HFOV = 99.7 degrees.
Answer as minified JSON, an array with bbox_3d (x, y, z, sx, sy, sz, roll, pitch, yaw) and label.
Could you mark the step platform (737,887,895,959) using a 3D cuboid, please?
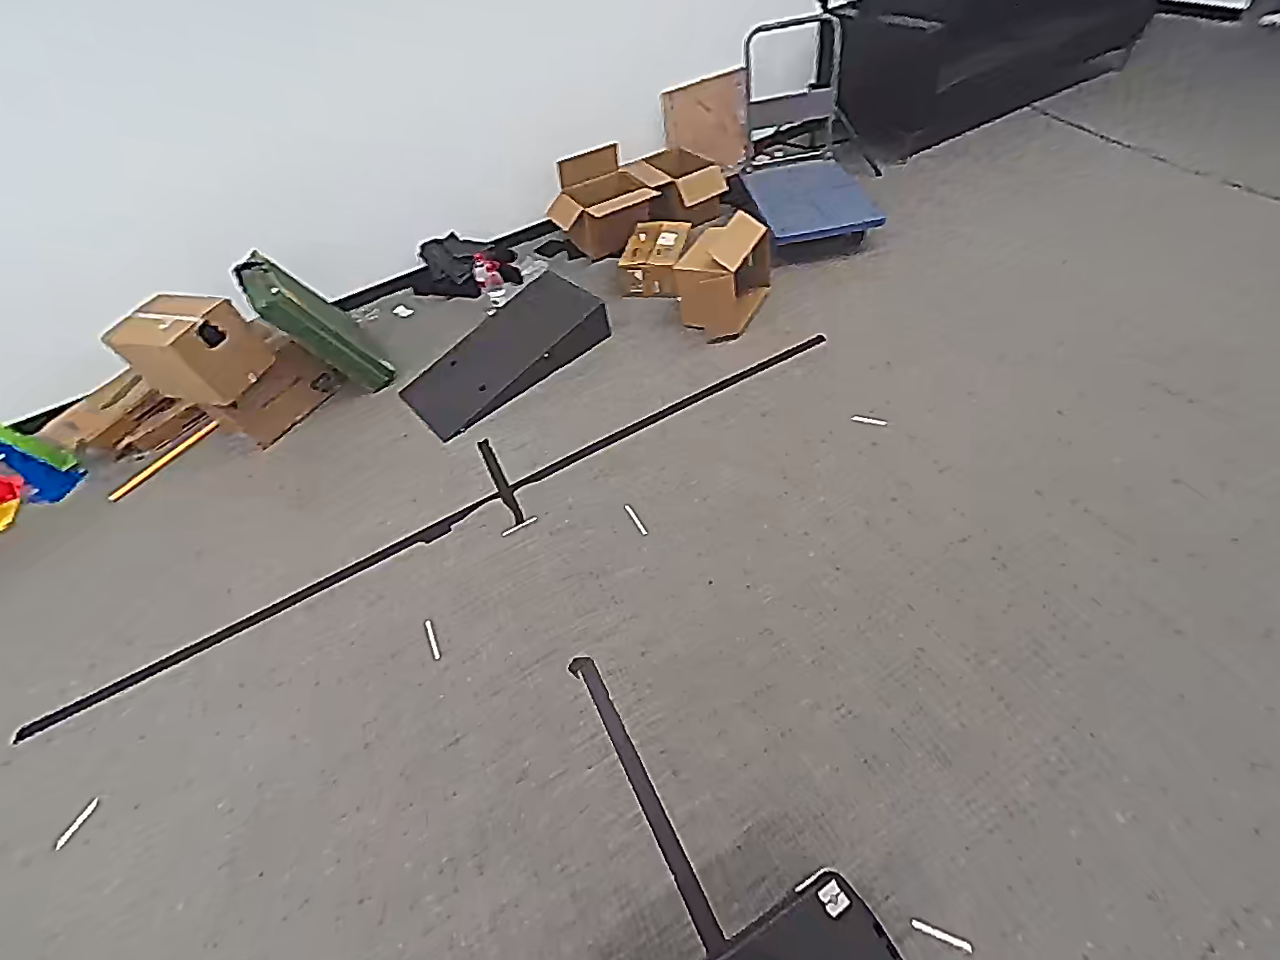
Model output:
[{"bbox_3d":[0.215,1.125,1.039,0.684,0.204,0.286,-27,52,-14],"label":"step platform"}]
